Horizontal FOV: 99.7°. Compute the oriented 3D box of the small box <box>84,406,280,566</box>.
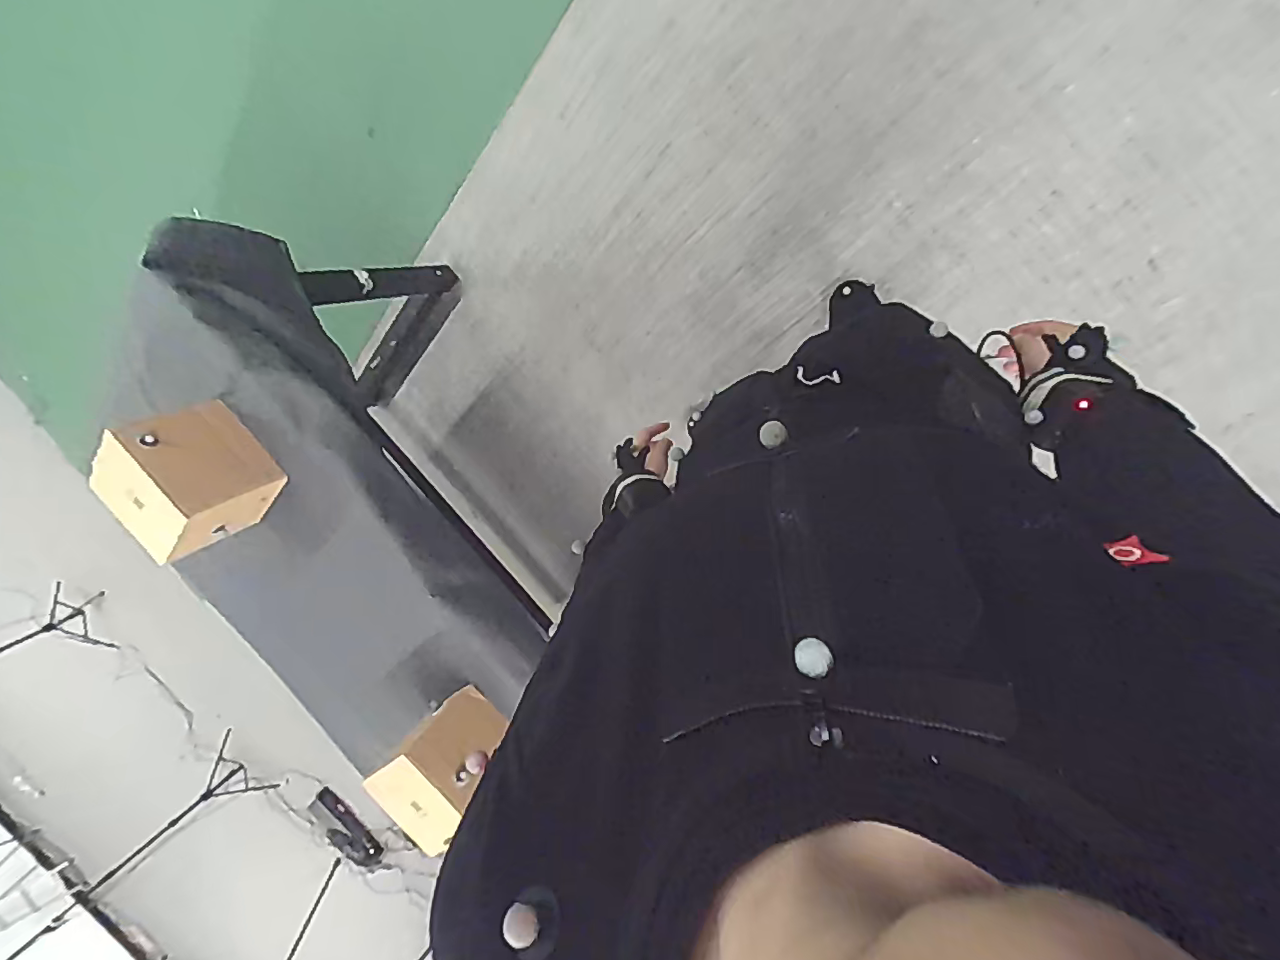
[{"bbox_3d":[-0.741,0.004,0.887,0.168,0.176,0.179,-36,94,31],"label":"small box"}]

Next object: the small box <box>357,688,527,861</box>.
[{"bbox_3d":[-0.328,0.495,0.922,0.179,0.176,0.168,49,120,-1],"label":"small box"}]
